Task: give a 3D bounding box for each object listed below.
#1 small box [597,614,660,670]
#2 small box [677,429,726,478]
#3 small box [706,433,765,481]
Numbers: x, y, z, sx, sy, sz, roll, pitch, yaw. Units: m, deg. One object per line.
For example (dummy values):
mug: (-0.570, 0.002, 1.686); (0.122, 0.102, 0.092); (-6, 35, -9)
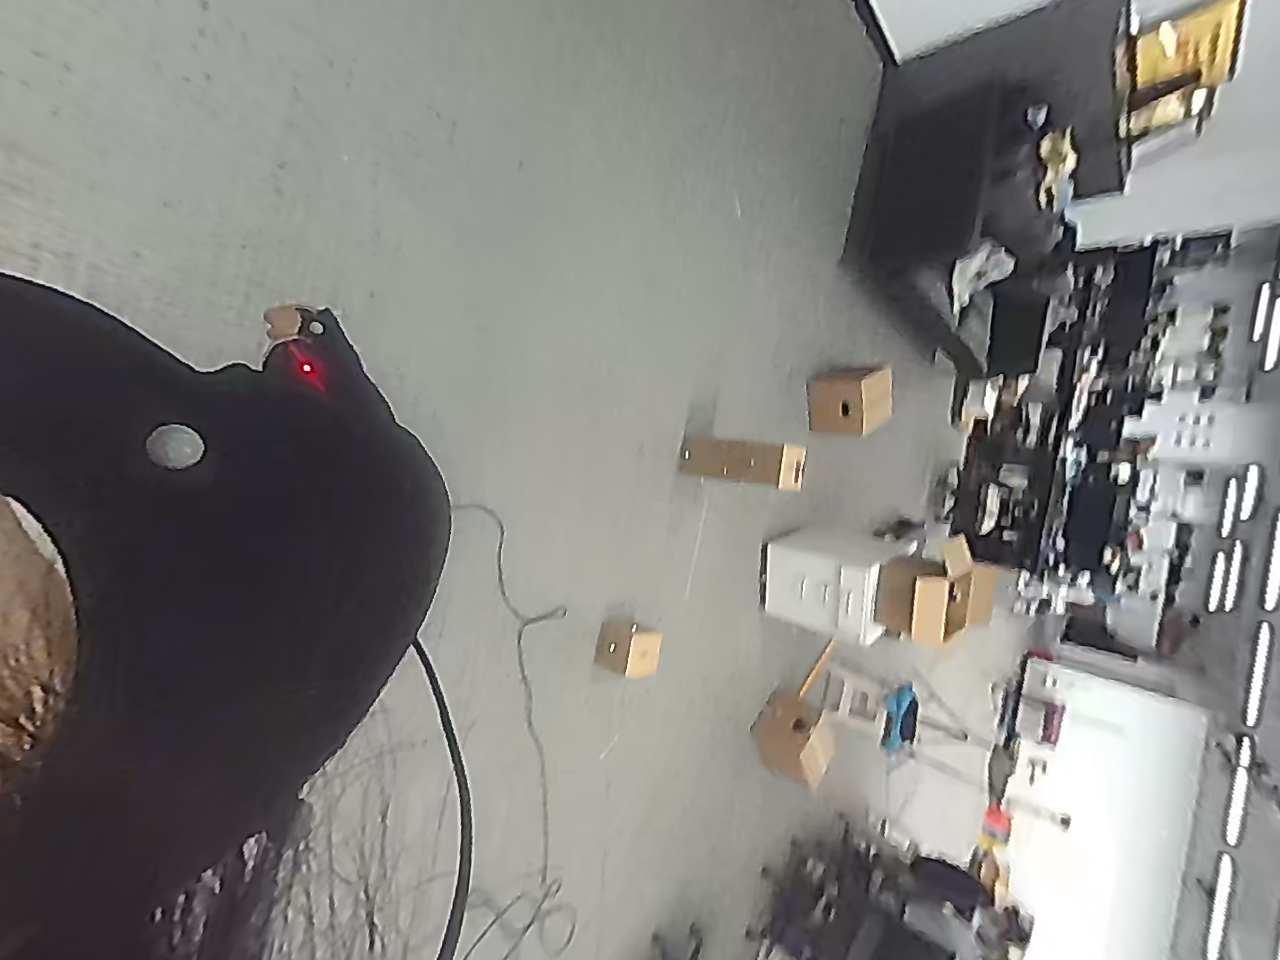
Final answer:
small box: (-0.049, 0.639, 2.156); (0.179, 0.176, 0.168); (11, 90, -46)
small box: (0.284, -0.117, 2.368); (0.168, 0.176, 0.179); (11, 90, -47)
small box: (0.393, -0.097, 2.248); (0.168, 0.176, 0.179); (7, 91, -48)
